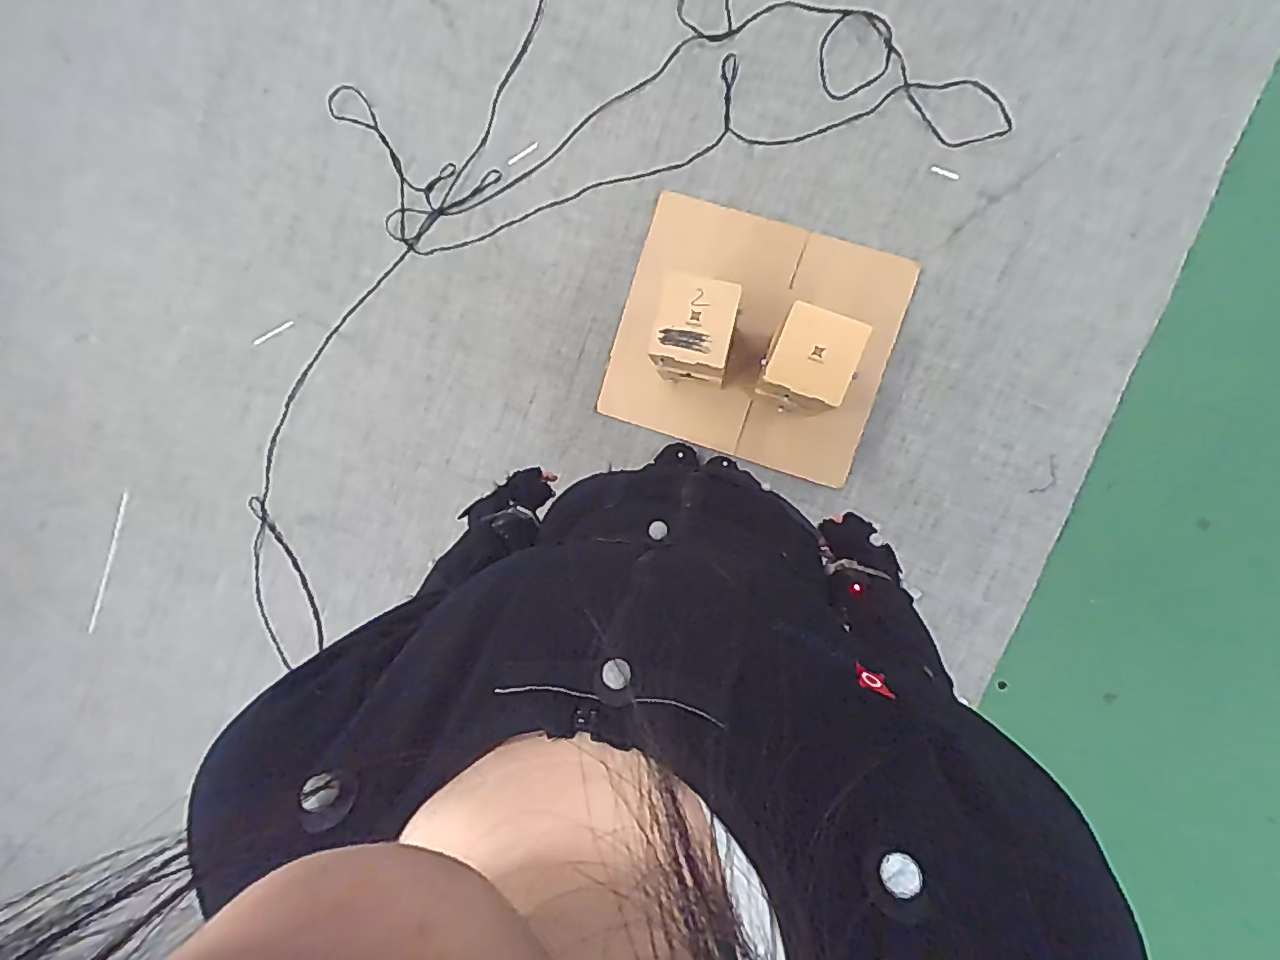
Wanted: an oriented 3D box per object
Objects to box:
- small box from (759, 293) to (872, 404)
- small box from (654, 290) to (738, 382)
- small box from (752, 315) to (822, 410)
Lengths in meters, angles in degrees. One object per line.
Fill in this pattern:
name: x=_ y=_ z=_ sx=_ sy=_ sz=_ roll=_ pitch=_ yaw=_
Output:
small box: x=0.365 y=-0.274 z=1.167 sx=0.168 sy=0.176 sz=0.179 roll=22 pitch=97 yaw=5
small box: x=0.140 y=-0.350 z=1.348 sx=0.168 sy=0.176 sz=0.179 roll=14 pitch=96 yaw=5
small box: x=0.381 y=-0.281 z=1.329 sx=0.168 sy=0.176 sz=0.179 roll=19 pitch=97 yaw=6
